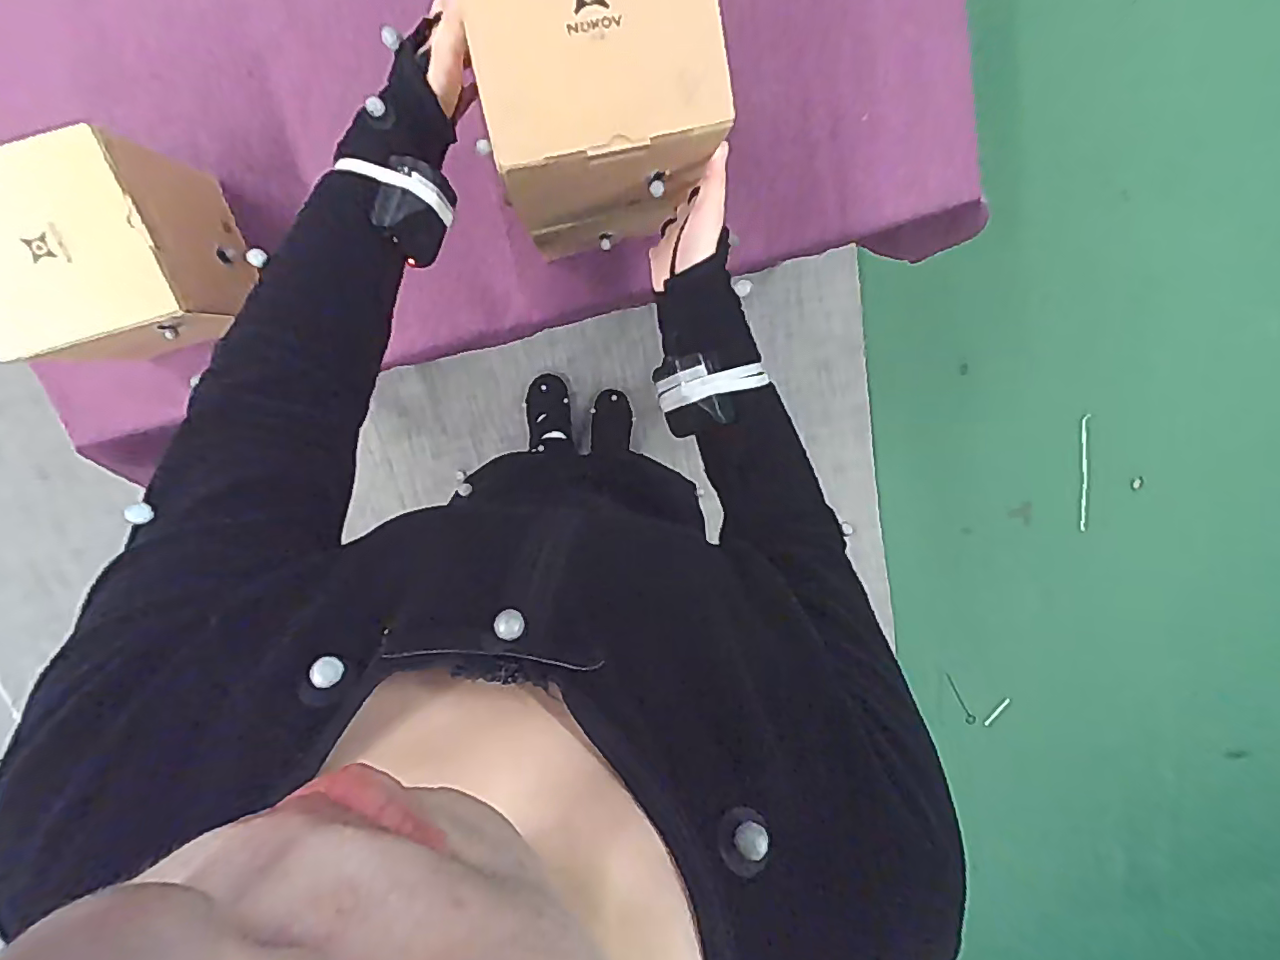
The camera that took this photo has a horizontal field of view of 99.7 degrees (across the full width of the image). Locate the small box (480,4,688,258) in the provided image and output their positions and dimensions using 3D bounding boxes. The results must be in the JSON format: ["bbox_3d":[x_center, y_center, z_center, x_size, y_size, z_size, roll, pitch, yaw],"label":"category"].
[{"bbox_3d":[-0.054,-0.352,0.587,0.168,0.176,0.179,-14,104,-2],"label":"small box"}]

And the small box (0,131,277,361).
[{"bbox_3d":[-0.541,-0.227,0.573,0.179,0.176,0.168,-18,104,-2],"label":"small box"}]
